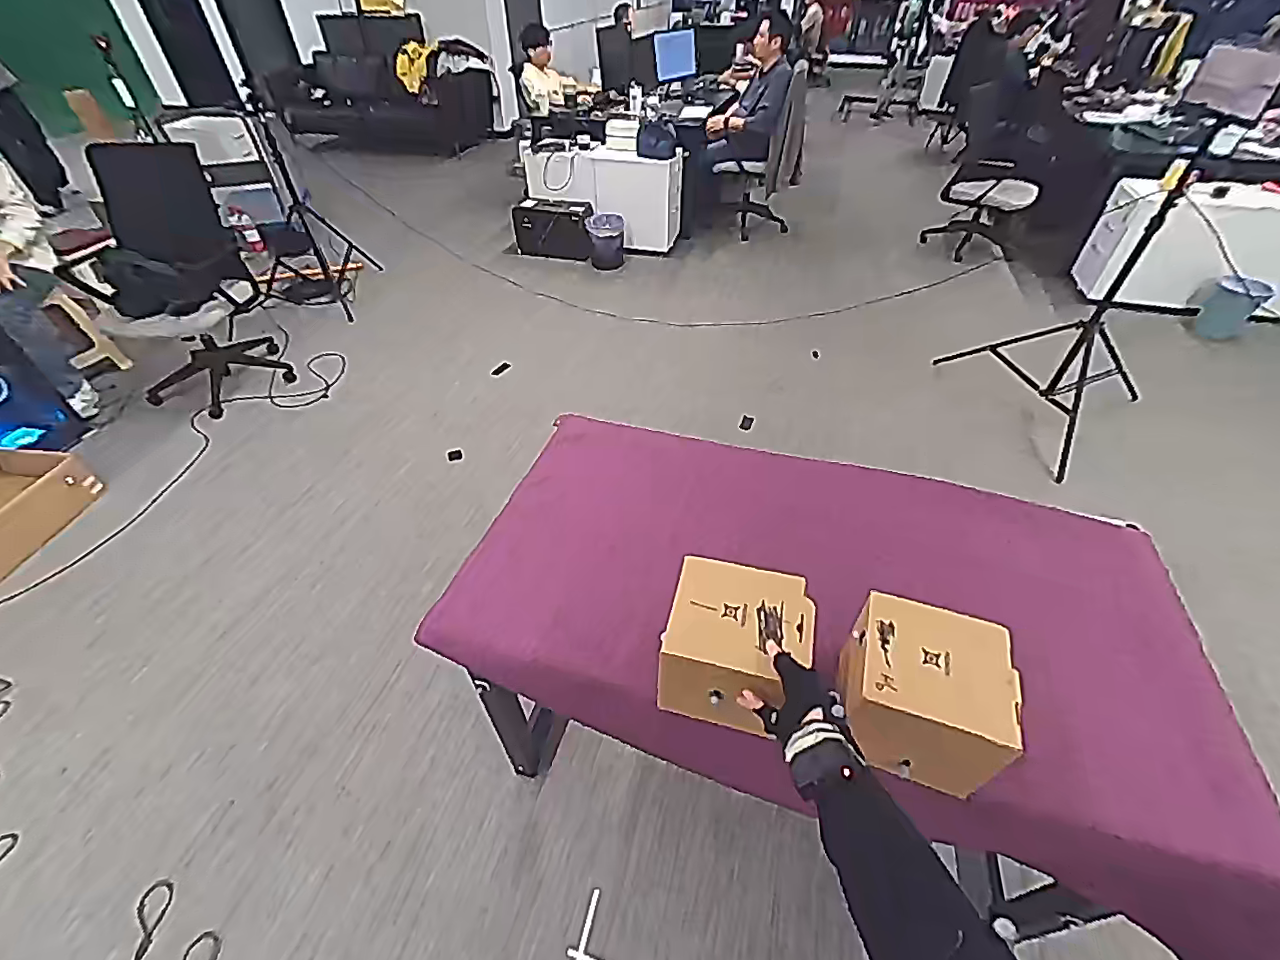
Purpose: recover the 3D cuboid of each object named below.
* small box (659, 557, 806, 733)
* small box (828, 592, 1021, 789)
[{"bbox_3d":[0.131,0.240,0.782,0.179,0.176,0.168,10,43,13],"label":"small box"},{"bbox_3d":[0.373,0.287,0.731,0.179,0.176,0.168,15,45,15],"label":"small box"}]
